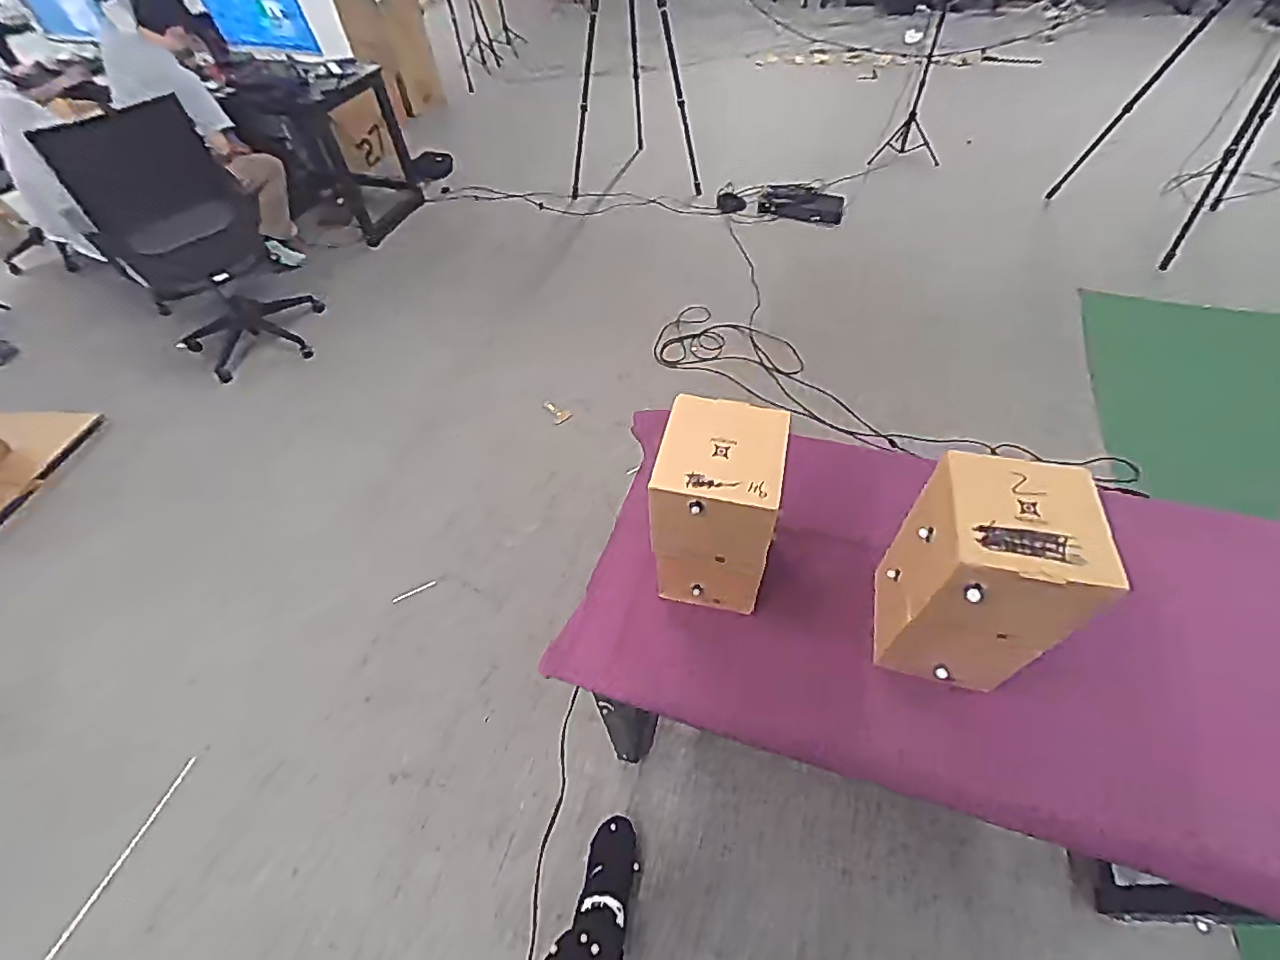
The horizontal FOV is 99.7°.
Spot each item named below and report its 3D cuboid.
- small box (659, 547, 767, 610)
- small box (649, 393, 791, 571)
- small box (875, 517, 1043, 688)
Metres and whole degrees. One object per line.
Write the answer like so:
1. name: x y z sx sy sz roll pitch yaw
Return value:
1. small box: 0.125 0.095 0.915 0.168 0.176 0.179 8 53 10
2. small box: 0.113 0.004 0.779 0.168 0.176 0.179 10 53 11
3. small box: 0.464 0.186 0.817 0.168 0.176 0.179 10 53 13
